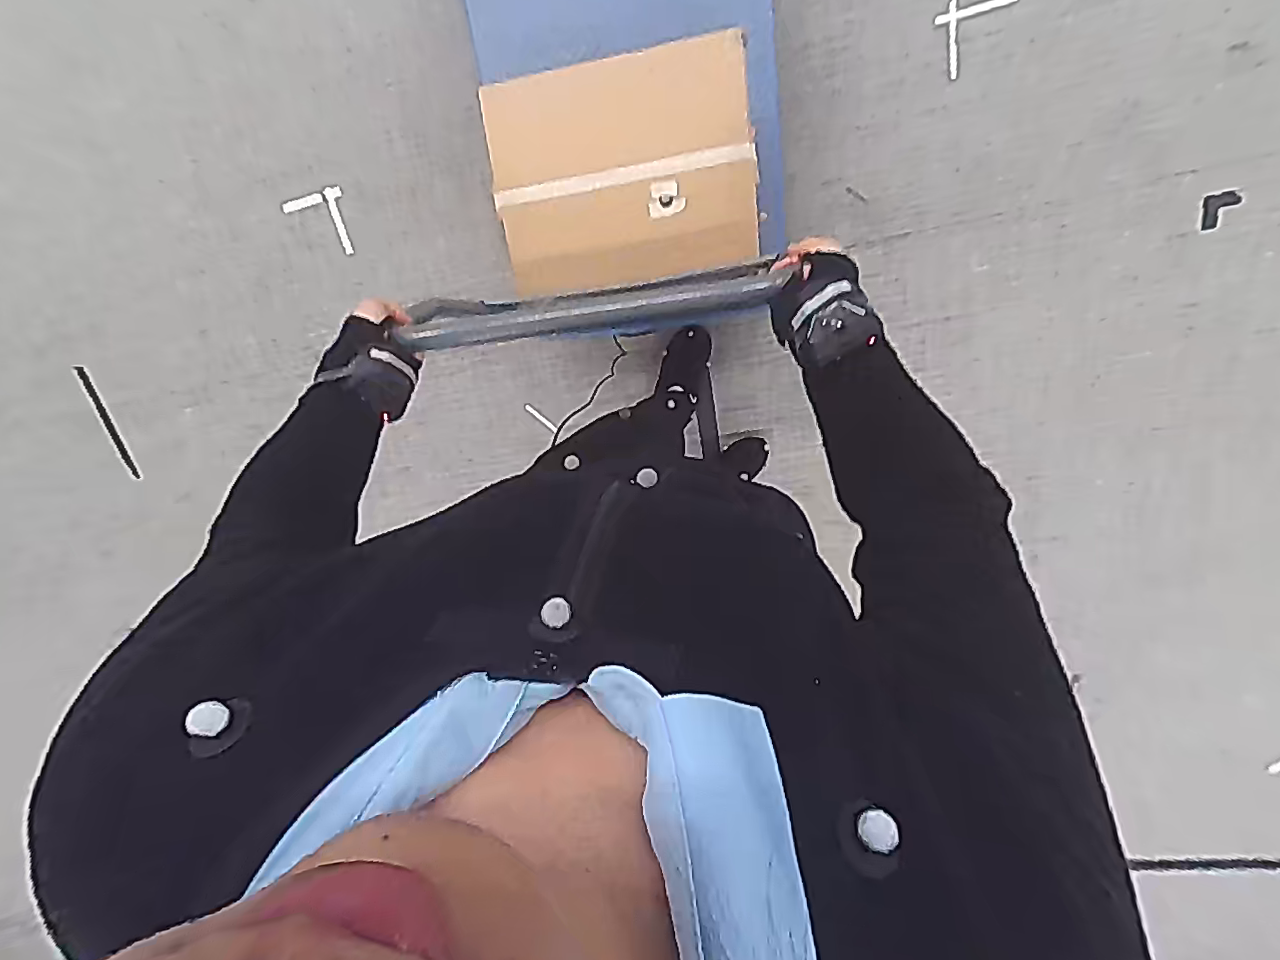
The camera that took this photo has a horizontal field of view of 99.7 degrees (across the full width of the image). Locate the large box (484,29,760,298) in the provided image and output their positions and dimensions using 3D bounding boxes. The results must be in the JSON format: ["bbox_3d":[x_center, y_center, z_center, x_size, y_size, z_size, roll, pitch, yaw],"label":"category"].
[{"bbox_3d":[-0.010,-0.525,0.987,0.408,0.320,0.320,-6,108,9],"label":"large box"}]
